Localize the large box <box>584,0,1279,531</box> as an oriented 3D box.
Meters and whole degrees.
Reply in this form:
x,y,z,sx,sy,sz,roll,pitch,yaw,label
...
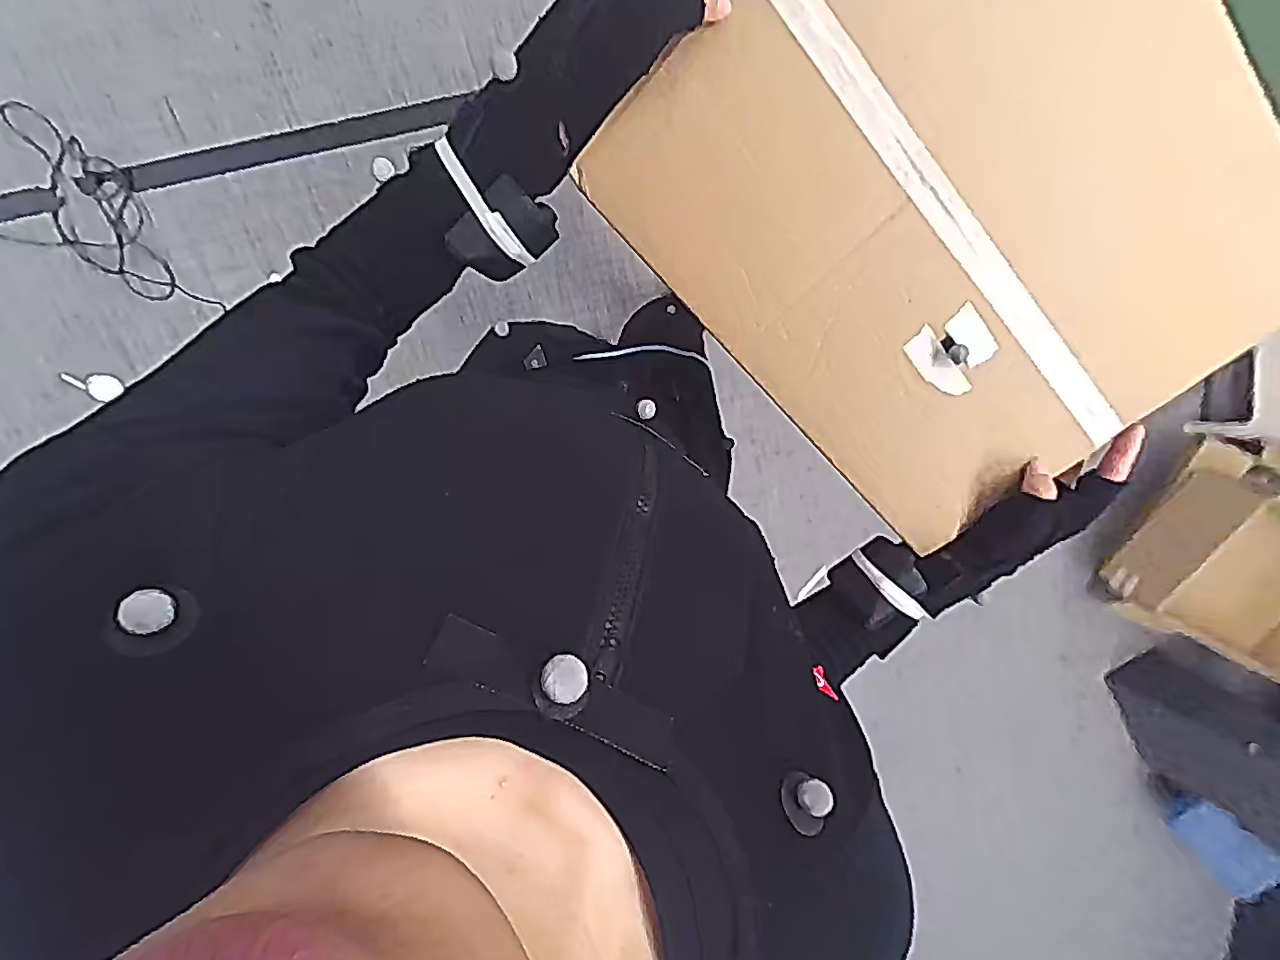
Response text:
x,y,z,sx,sy,sz,roll,pitch,yaw,label
0.213,-0.240,0.494,0.320,0.320,0.408,-41,107,22,large box
